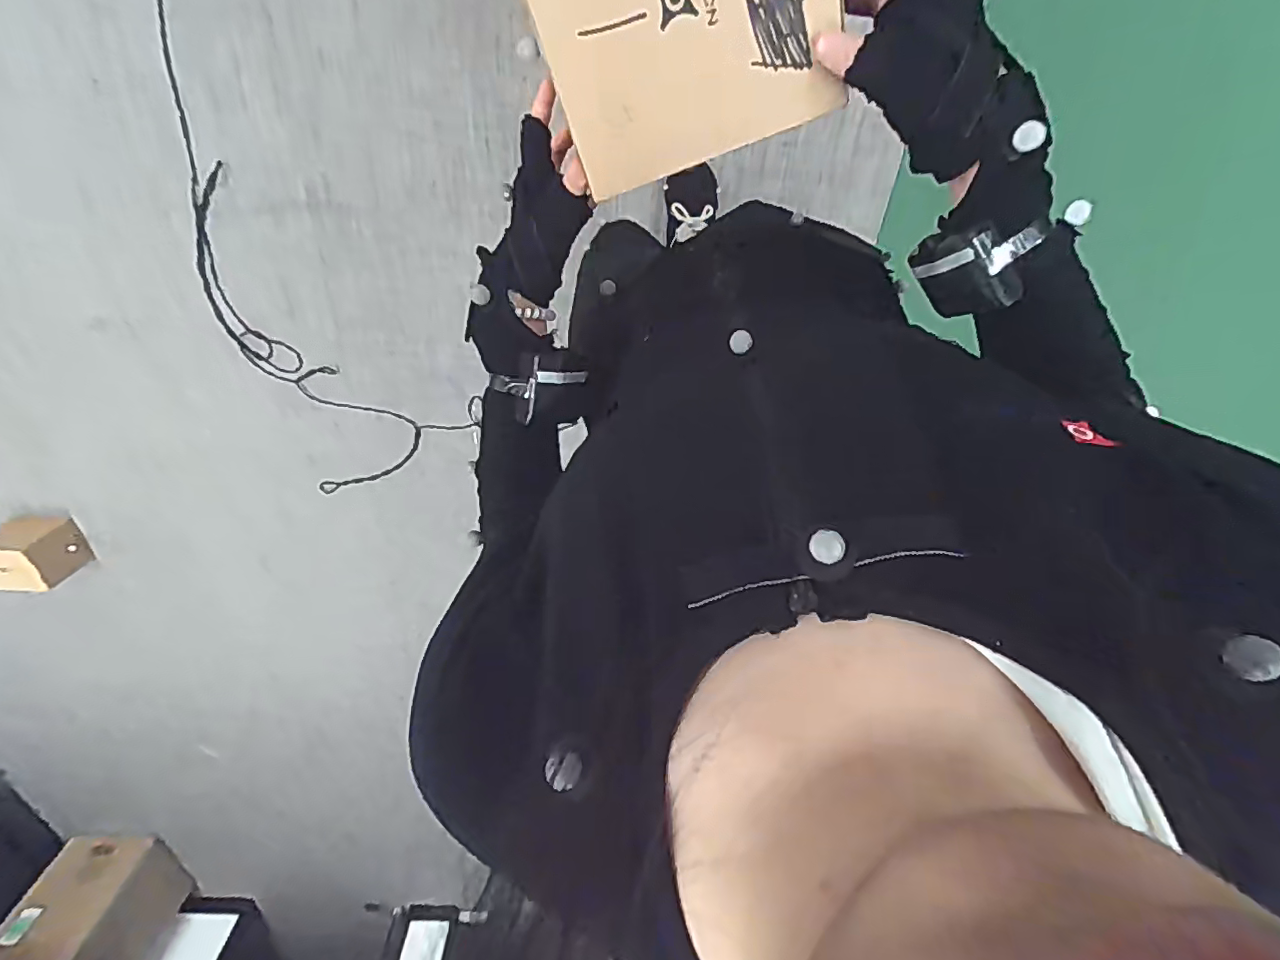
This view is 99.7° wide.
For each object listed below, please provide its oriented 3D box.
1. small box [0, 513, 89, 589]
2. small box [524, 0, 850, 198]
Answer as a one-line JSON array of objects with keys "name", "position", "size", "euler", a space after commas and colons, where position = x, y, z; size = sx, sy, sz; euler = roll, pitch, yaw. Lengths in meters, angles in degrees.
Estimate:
[{"name": "small box", "position": [-1.894, 0.215, 1.673], "size": [0.179, 0.176, 0.168], "euler": [3, 122, -2]}, {"name": "small box", "position": [0.017, -0.319, 0.359], "size": [0.179, 0.176, 0.168], "euler": [-18, 128, 5]}]
